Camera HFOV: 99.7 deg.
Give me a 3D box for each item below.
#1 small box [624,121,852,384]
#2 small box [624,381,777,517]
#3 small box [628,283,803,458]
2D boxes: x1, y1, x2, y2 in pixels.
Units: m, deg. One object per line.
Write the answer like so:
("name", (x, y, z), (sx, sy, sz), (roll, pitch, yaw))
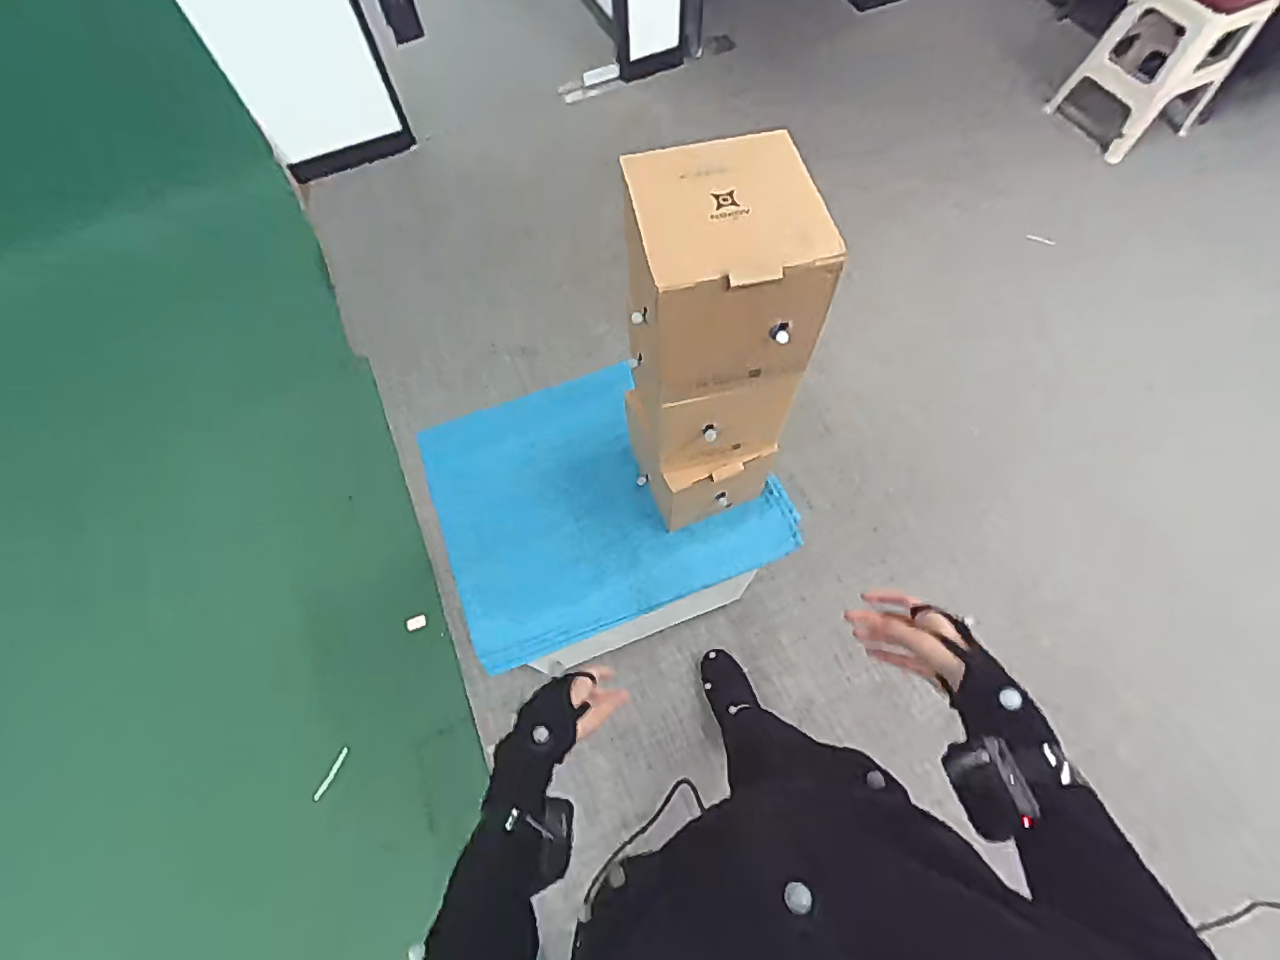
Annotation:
("small box", (0.082, -0.213, 0.540), (0.168, 0.176, 0.179), (-10, 64, -3))
("small box", (0.084, -0.058, 0.828), (0.168, 0.176, 0.179), (-21, 67, -8))
("small box", (0.086, -0.142, 0.687), (0.168, 0.176, 0.179), (-12, 65, -4))
